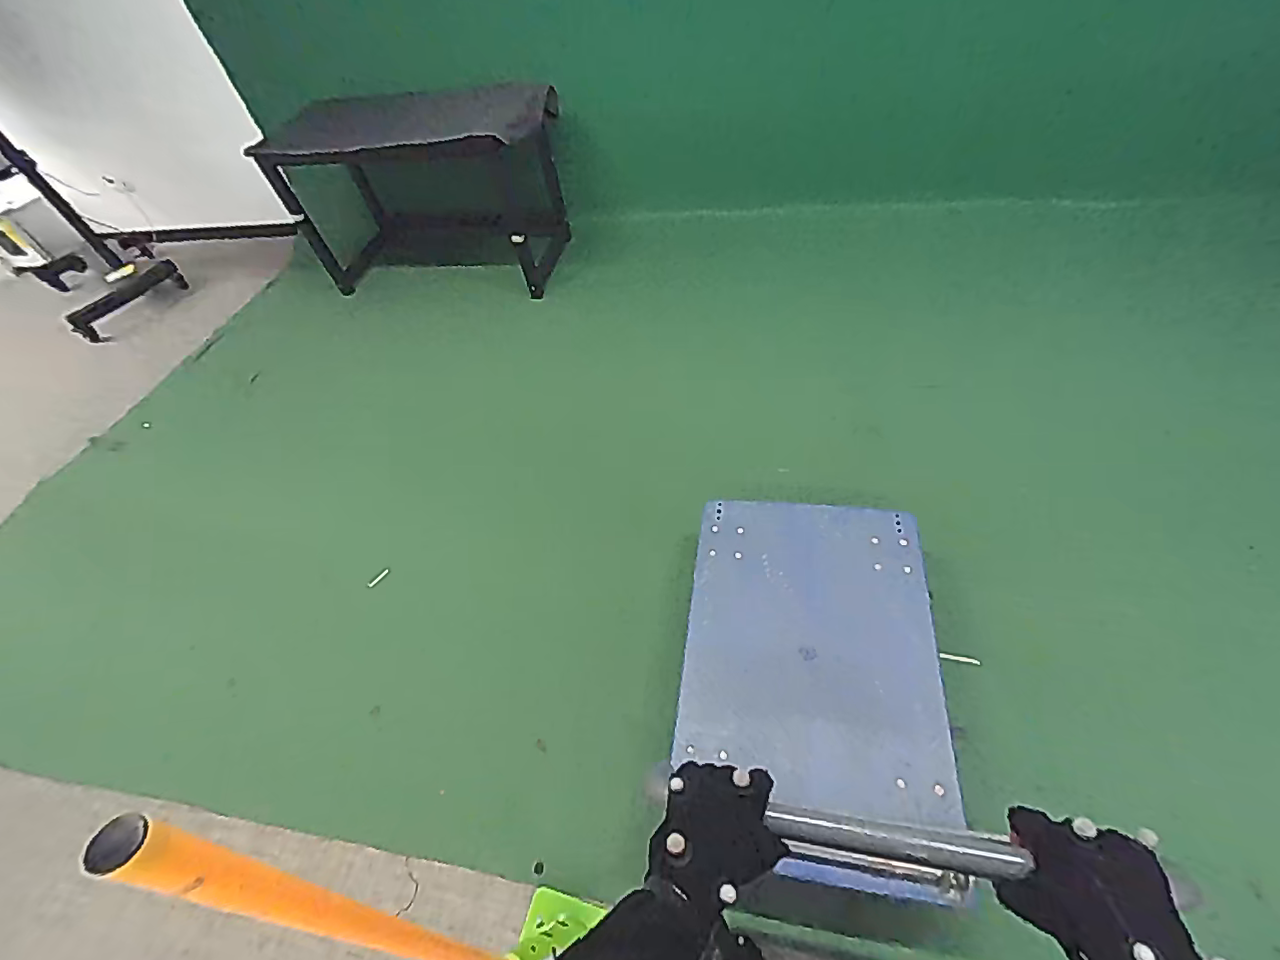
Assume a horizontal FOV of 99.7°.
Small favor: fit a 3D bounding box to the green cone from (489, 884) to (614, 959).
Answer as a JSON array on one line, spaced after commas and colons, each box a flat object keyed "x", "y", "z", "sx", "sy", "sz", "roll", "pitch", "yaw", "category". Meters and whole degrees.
[{"x": -0.192, "y": 0.877, "z": 0.994, "sx": 0.202, "sy": 0.368, "sz": 0.200, "roll": 7, "pitch": 52, "yaw": 16, "category": "green cone"}]
